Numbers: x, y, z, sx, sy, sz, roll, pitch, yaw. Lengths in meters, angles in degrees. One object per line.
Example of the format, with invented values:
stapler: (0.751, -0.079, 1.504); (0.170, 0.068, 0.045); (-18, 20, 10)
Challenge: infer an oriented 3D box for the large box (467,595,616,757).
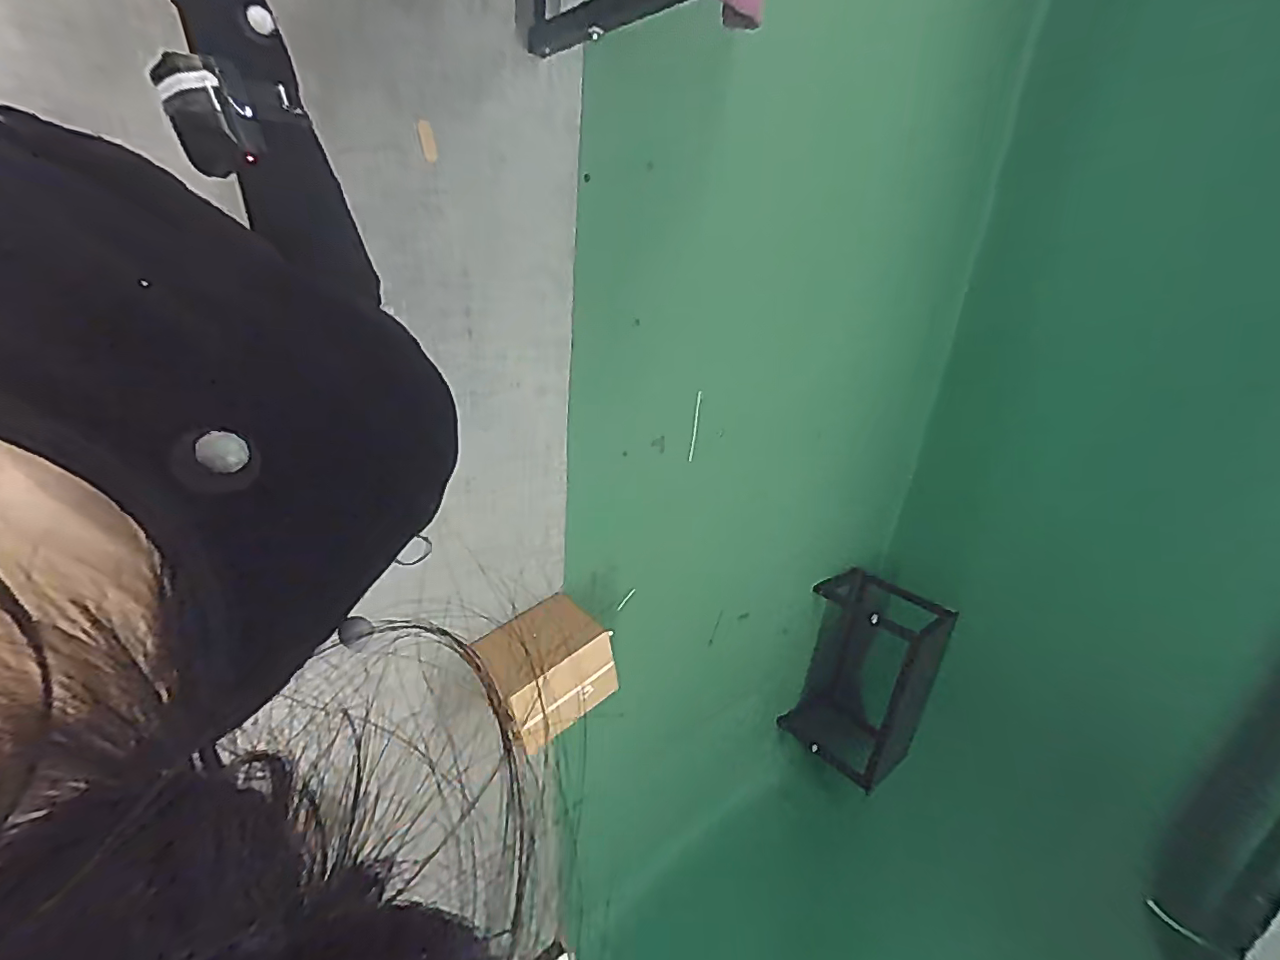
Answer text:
large box: (-0.354, 0.697, 1.982); (0.408, 0.320, 0.320); (-28, 127, -33)
